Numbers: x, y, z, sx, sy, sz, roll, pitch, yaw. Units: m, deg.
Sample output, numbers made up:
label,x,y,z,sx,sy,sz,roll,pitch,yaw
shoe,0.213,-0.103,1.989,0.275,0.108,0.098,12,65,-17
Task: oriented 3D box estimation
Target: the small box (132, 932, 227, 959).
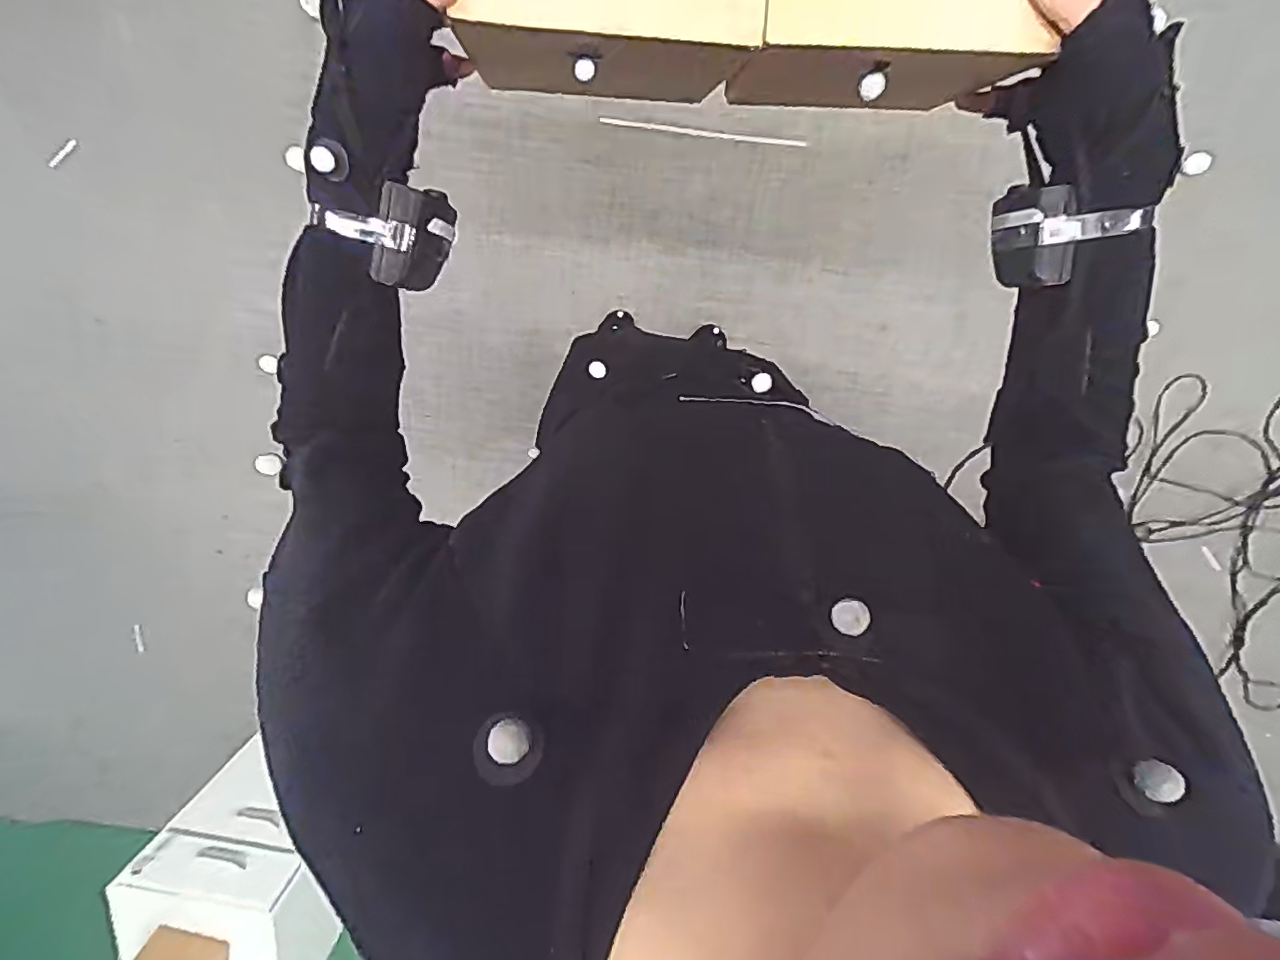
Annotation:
label,x,y,z,sx,sy,sz,roll,pitch,yaw
small box,-1.094,1.182,1.228,0.179,0.176,0.168,18,108,-2
